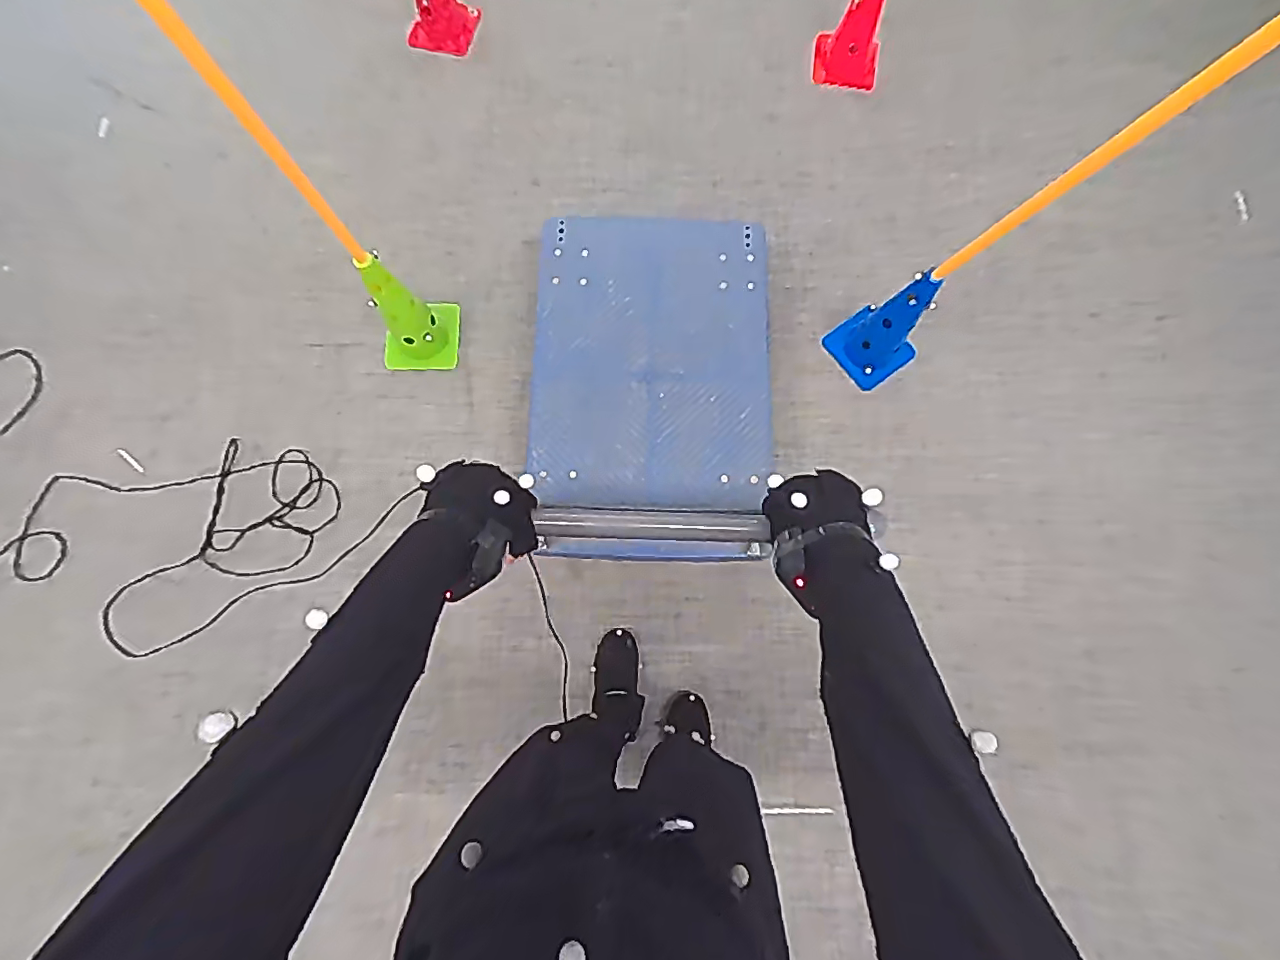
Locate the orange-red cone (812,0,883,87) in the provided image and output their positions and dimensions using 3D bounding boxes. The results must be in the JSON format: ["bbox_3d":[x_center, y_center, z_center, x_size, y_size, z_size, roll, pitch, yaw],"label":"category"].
[{"bbox_3d":[0.647,-1.367,1.540,0.198,0.360,0.199,11,79,3],"label":"orange-red cone"}]
